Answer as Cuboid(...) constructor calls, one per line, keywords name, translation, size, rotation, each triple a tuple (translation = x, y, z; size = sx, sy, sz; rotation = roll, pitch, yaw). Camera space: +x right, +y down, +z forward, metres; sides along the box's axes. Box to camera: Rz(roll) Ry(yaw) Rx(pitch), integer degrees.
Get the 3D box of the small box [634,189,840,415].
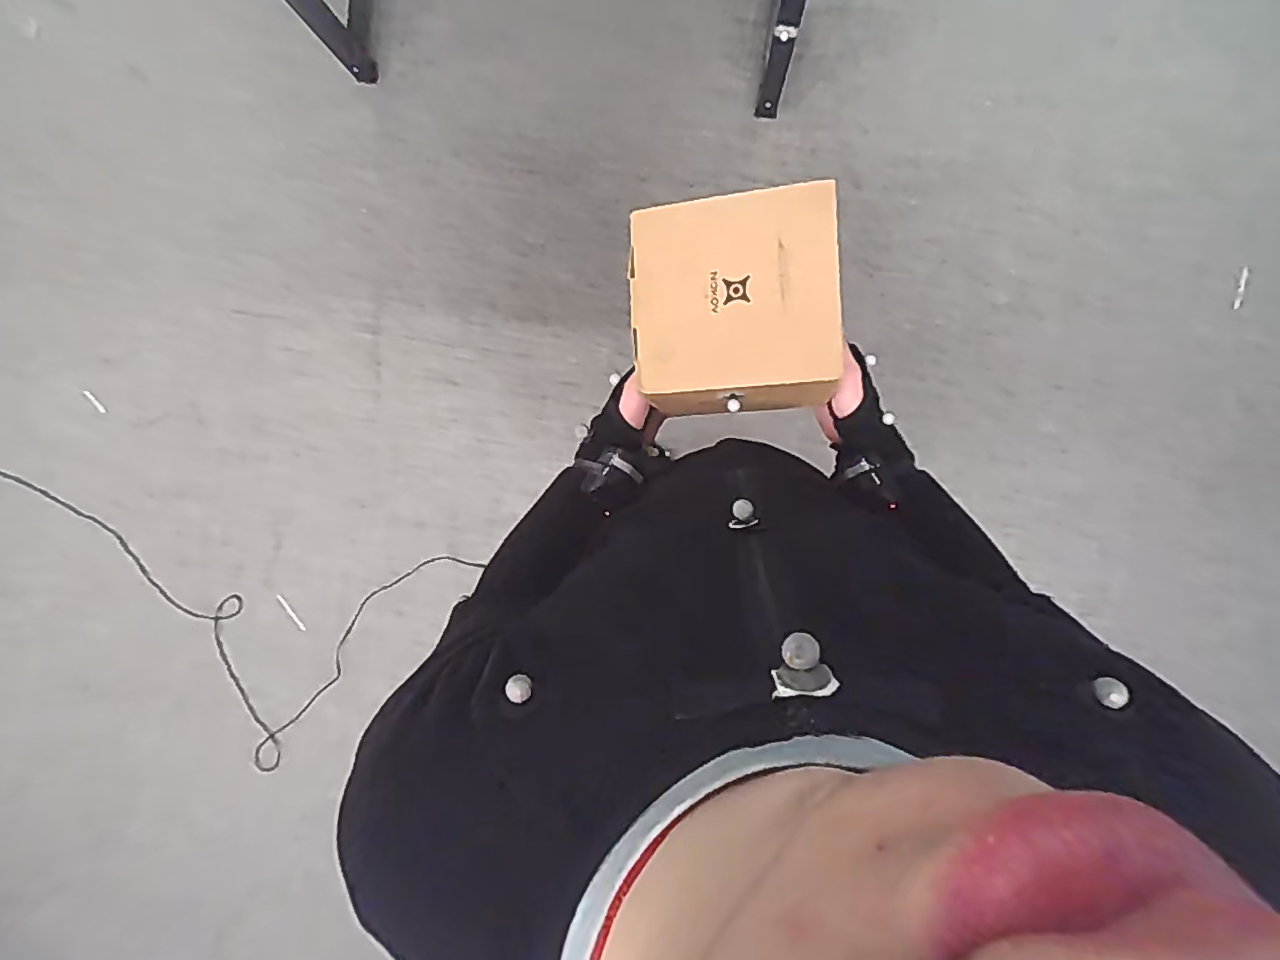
Cuboid(name="small box", translation=(0.098, -0.161, 0.550), size=(0.179, 0.176, 0.168), rotation=(-3, 90, 12))
